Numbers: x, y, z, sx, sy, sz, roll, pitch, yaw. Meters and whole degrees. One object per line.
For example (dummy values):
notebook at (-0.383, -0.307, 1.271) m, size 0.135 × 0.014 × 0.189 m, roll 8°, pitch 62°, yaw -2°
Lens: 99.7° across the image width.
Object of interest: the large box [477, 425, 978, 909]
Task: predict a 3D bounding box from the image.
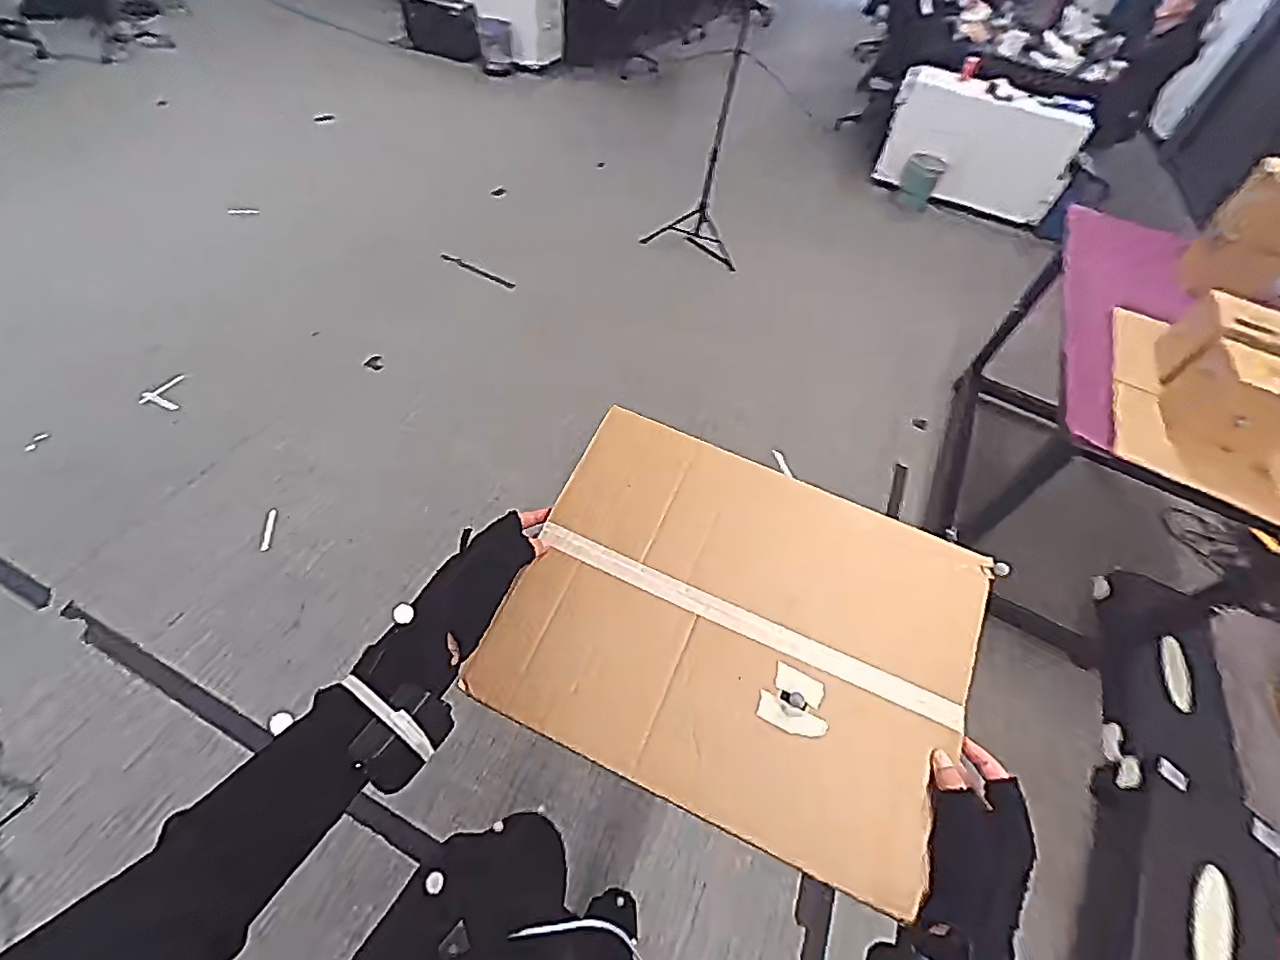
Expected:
large box at (0.089, 0.197, 0.640) m, size 0.408 × 0.320 × 0.320 m, roll 23°, pitch 68°, yaw 8°
